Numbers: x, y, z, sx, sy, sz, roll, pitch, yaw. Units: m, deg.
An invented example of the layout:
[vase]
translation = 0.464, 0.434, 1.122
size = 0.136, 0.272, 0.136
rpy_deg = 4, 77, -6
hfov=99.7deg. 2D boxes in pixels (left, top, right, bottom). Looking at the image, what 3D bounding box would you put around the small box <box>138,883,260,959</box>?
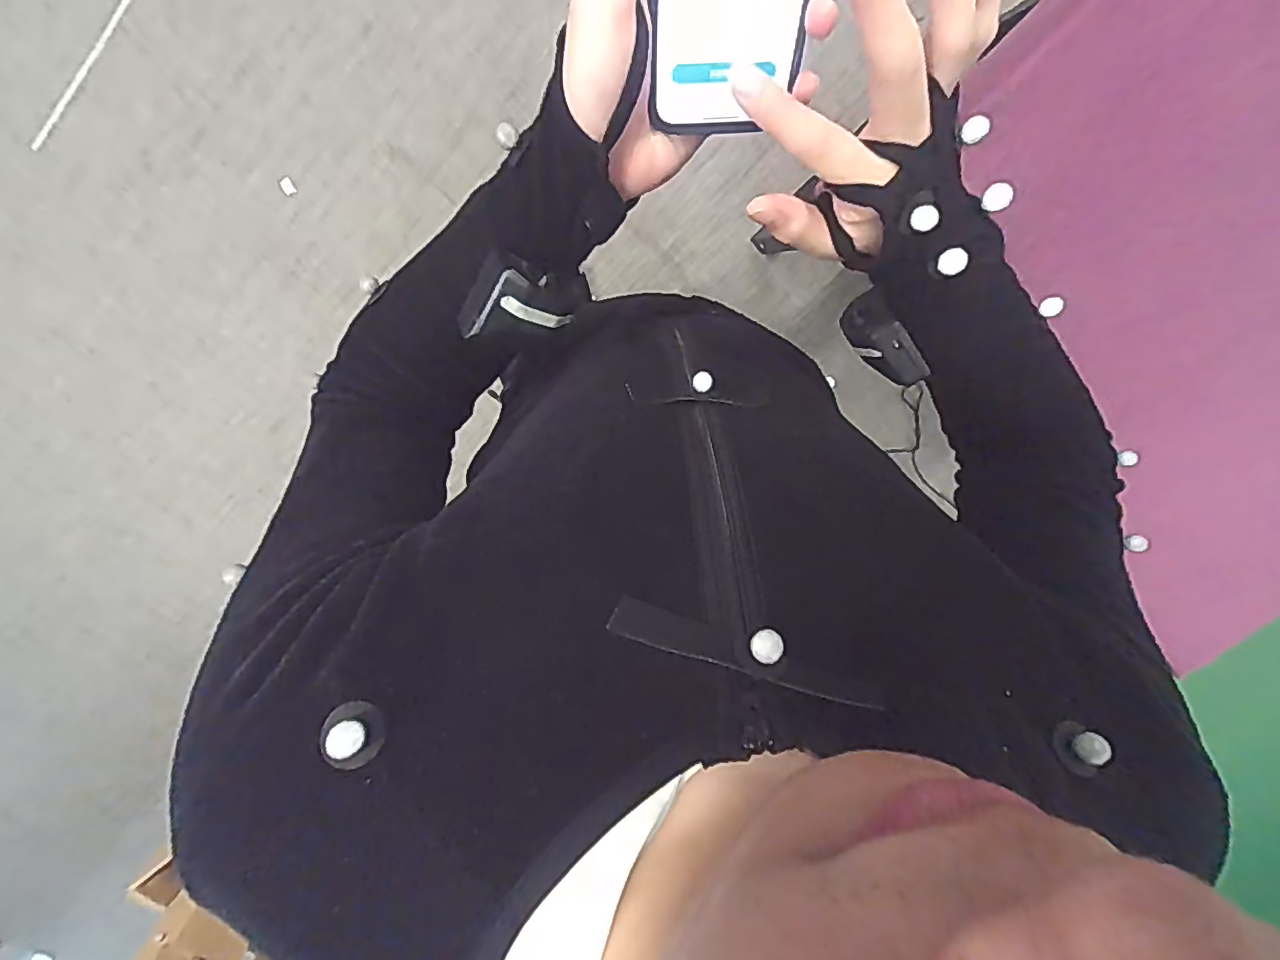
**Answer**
[small box]
translation = -1.058, 1.116, 1.290
size = 0.179, 0.176, 0.168
rpy_deg = -36, 108, 9
